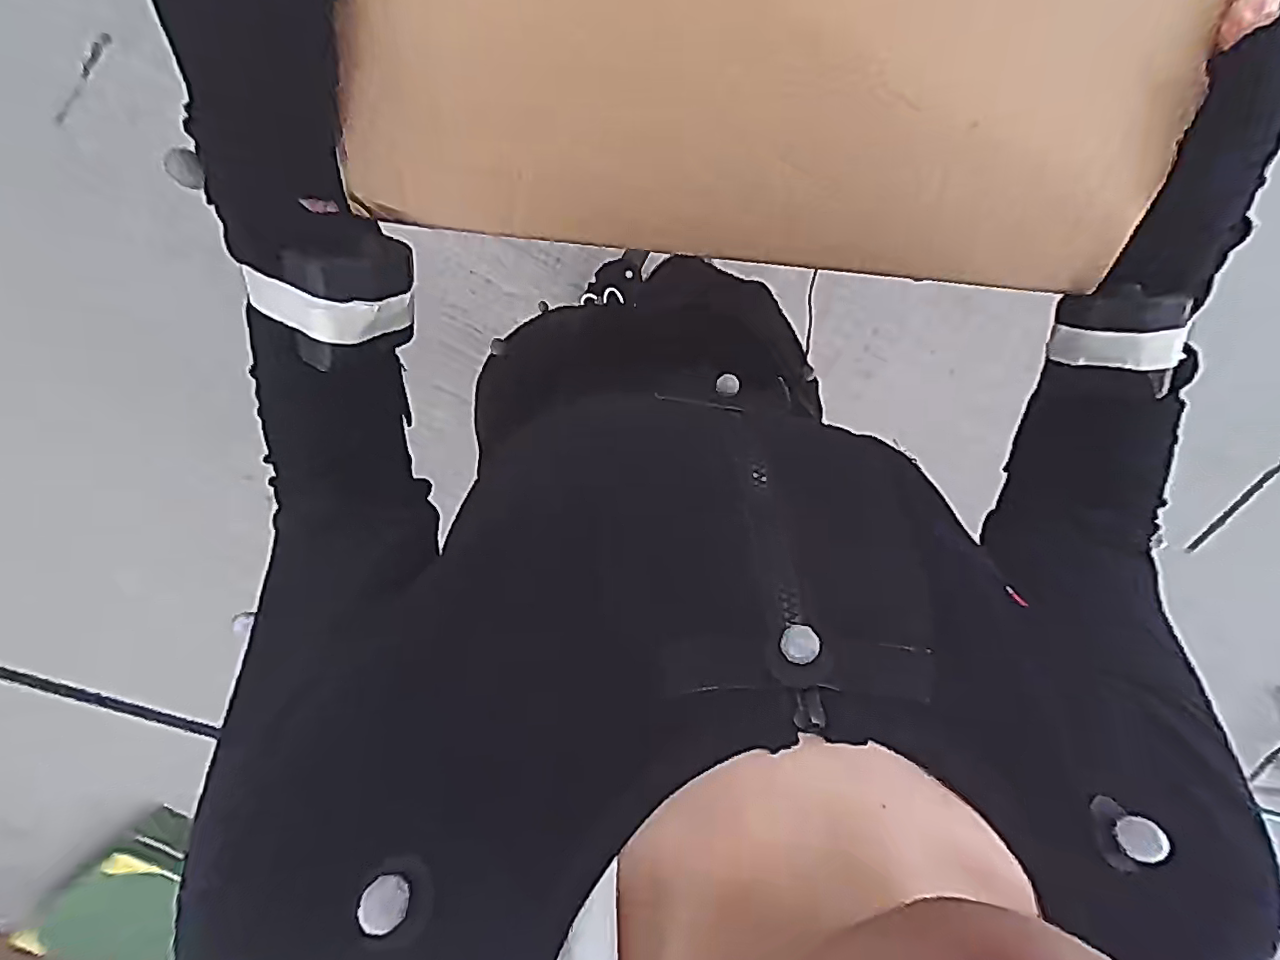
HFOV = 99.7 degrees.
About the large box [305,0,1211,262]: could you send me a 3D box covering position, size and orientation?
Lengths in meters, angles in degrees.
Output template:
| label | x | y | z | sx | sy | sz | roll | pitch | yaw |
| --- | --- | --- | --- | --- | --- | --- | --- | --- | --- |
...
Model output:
| label | x | y | z | sx | sy | sz | roll | pitch | yaw |
| --- | --- | --- | --- | --- | --- | --- | --- | --- | --- |
| large box | 0.057 | -0.346 | 0.311 | 0.408 | 0.320 | 0.320 | 2 | 129 | -7 |
